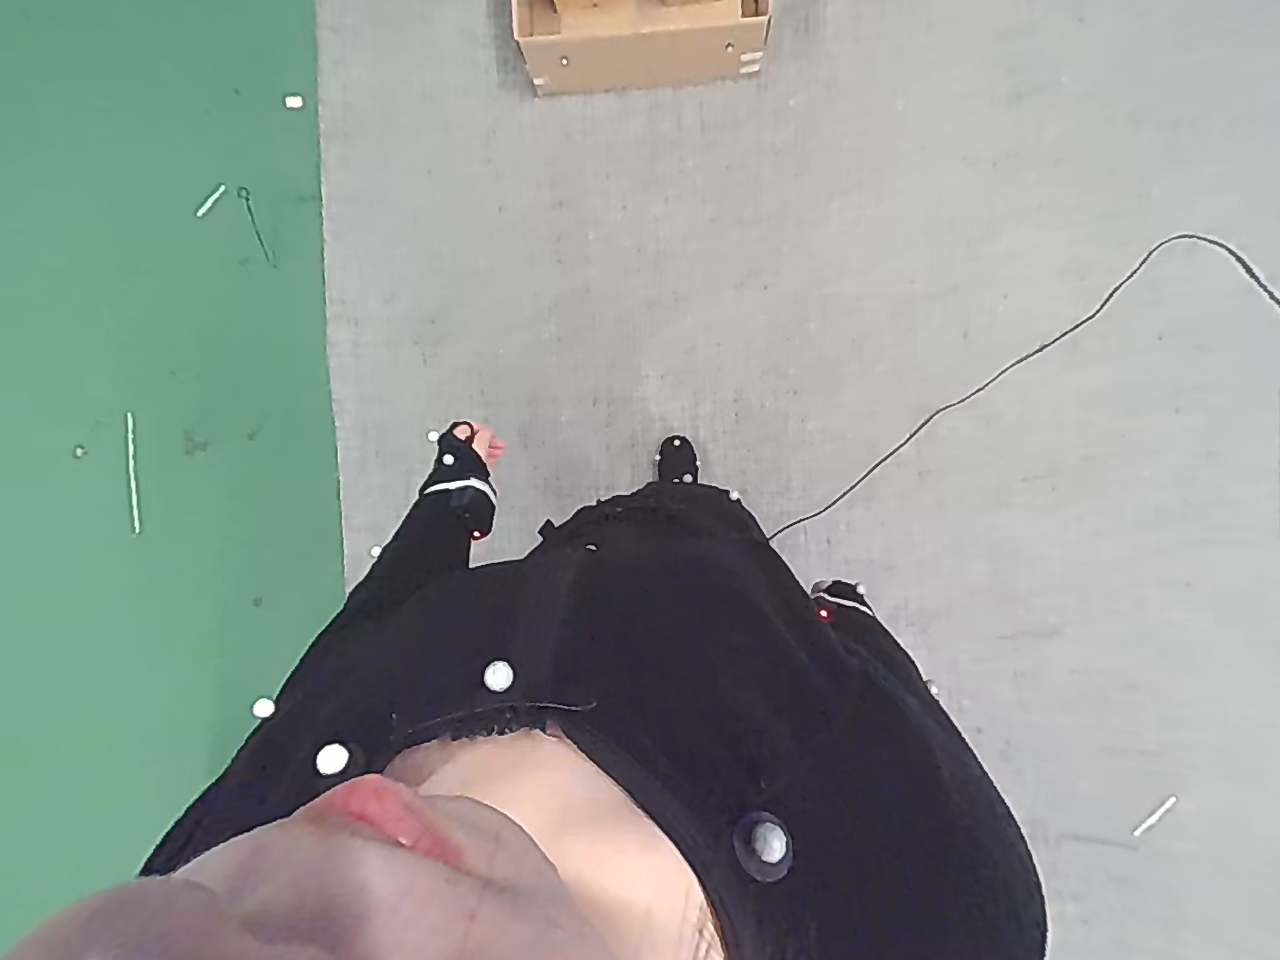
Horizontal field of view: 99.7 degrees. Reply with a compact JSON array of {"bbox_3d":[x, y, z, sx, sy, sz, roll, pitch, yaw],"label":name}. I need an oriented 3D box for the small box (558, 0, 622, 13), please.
[{"bbox_3d":[-0.131,-1.296,1.327,0.168,0.176,0.179,2,93,4],"label":"small box"}]

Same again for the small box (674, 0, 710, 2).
[{"bbox_3d":[0.142,-1.301,1.302,0.168,0.176,0.179,-2,93,5],"label":"small box"}]
